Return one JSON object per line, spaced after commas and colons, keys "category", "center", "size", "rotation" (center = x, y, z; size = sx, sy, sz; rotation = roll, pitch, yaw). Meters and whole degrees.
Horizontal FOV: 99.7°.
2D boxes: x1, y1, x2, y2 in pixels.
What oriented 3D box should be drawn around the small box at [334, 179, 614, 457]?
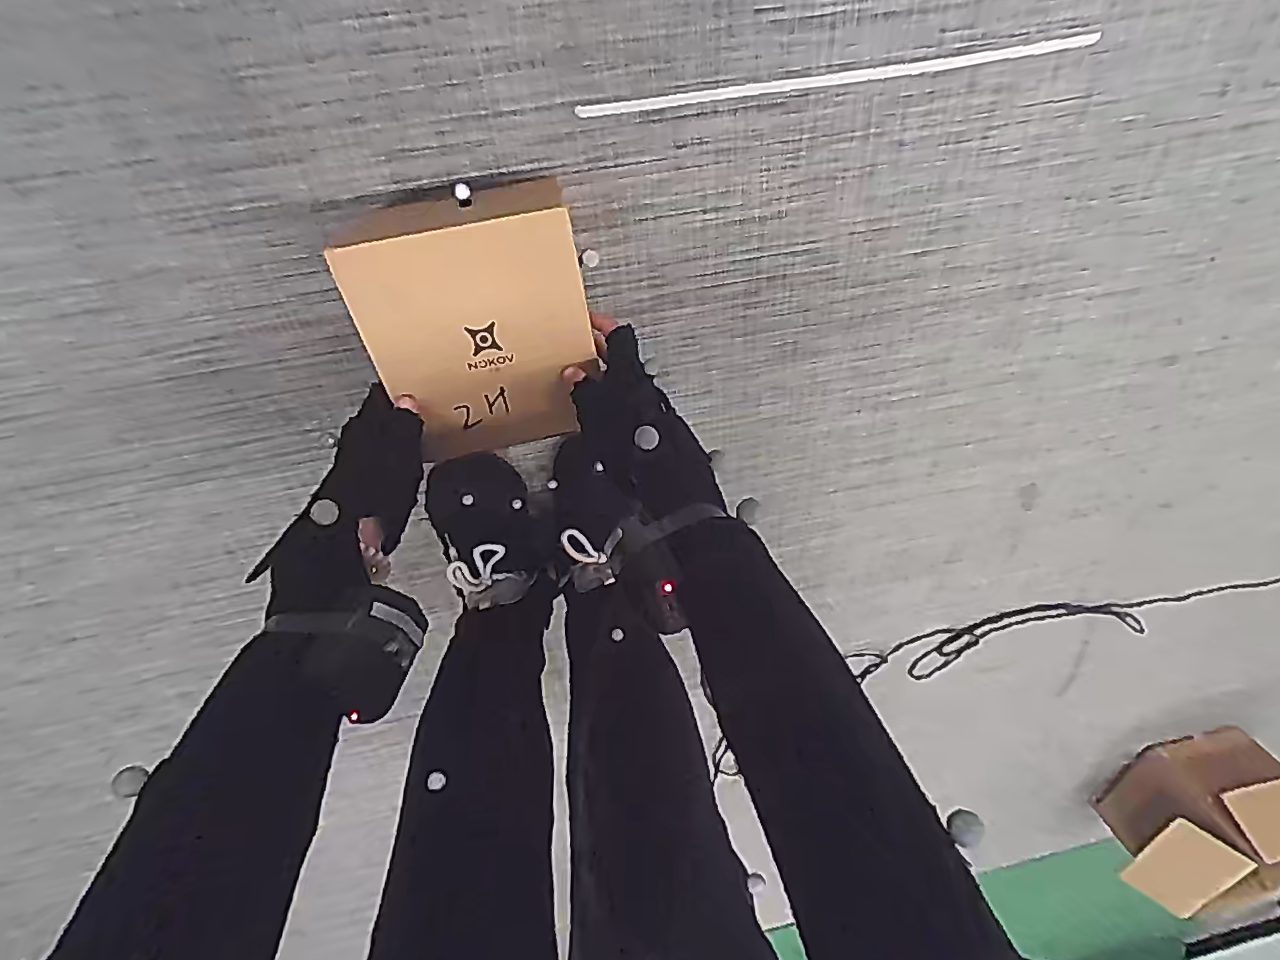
{"category": "small box", "center": [-0.125, -0.150, 0.469], "size": [0.168, 0.176, 0.179], "rotation": [-12, 127, -2]}
